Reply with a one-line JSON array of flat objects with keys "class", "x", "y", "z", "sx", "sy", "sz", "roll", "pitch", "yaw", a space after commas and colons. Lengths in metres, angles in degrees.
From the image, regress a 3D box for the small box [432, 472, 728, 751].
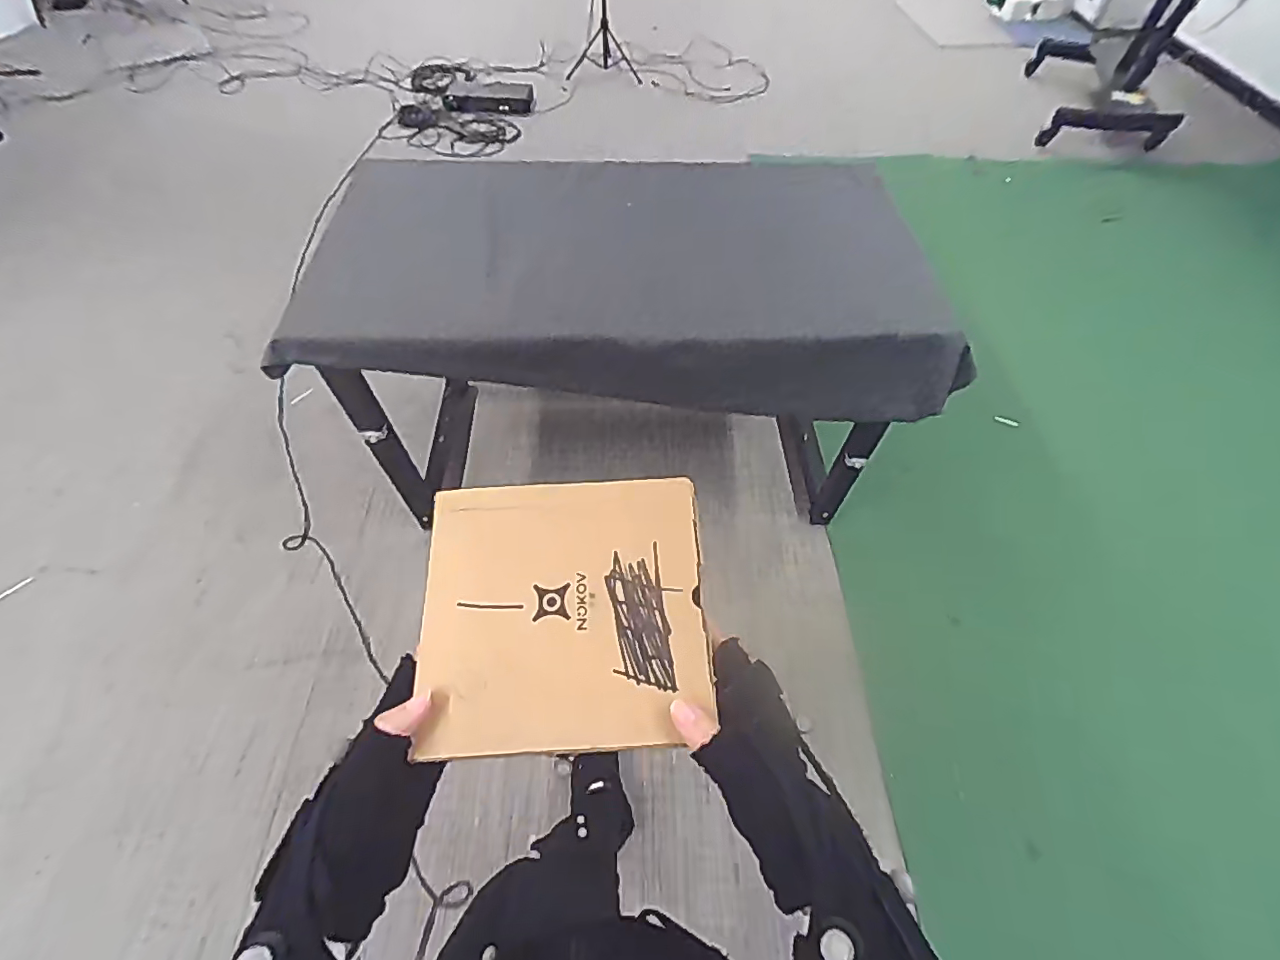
[{"class": "small box", "x": -0.046, "y": 0.107, "z": 0.419, "sx": 0.179, "sy": 0.176, "sz": 0.168, "roll": -5, "pitch": 65, "yaw": -5}]
